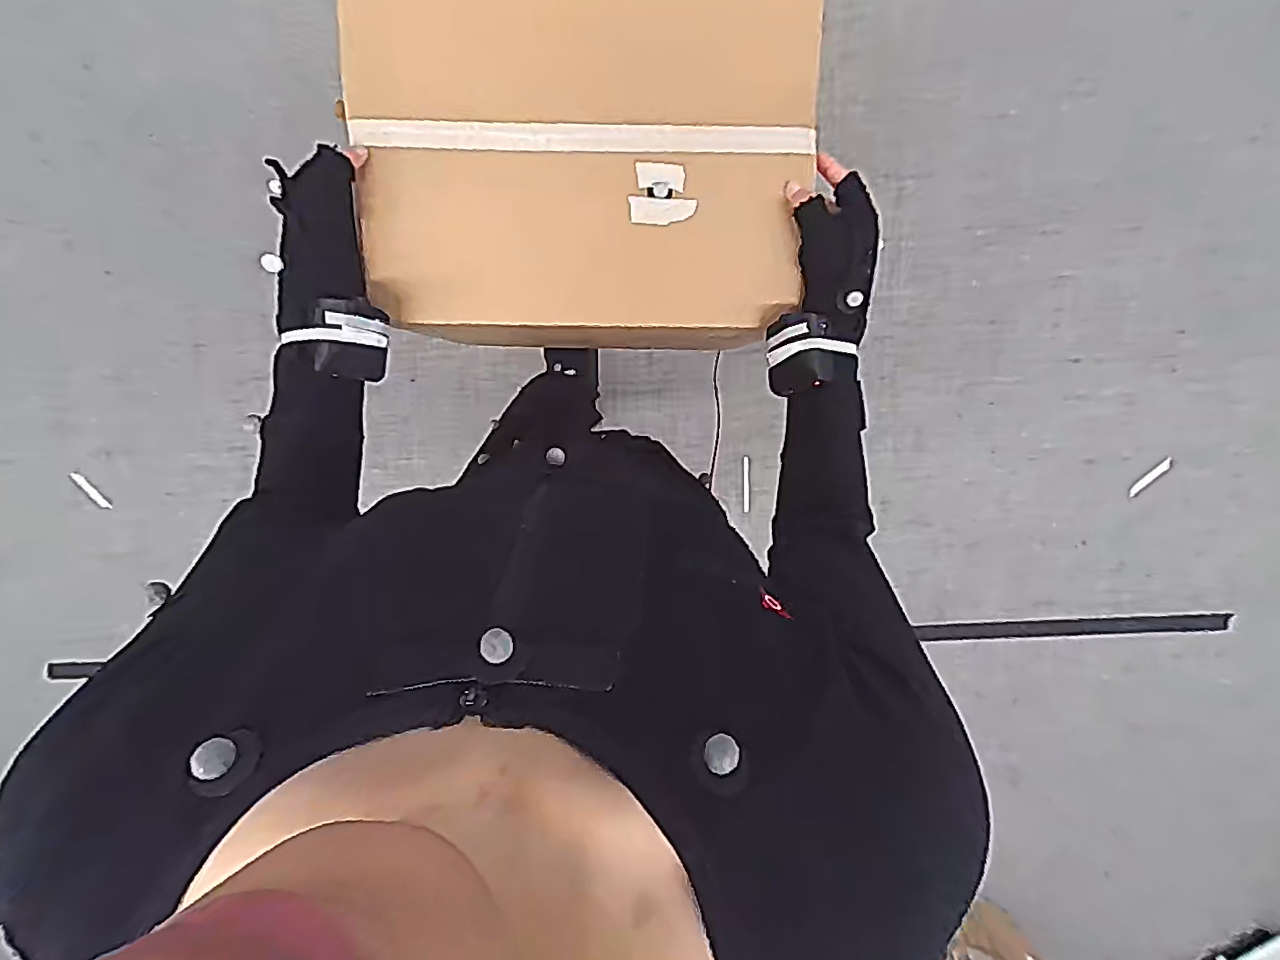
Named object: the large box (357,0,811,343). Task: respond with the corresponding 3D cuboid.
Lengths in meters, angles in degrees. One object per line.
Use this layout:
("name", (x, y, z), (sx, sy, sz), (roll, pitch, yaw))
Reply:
("large box", (-0.053, -0.334, 0.639), (0.408, 0.320, 0.320), (0, 101, -3))
